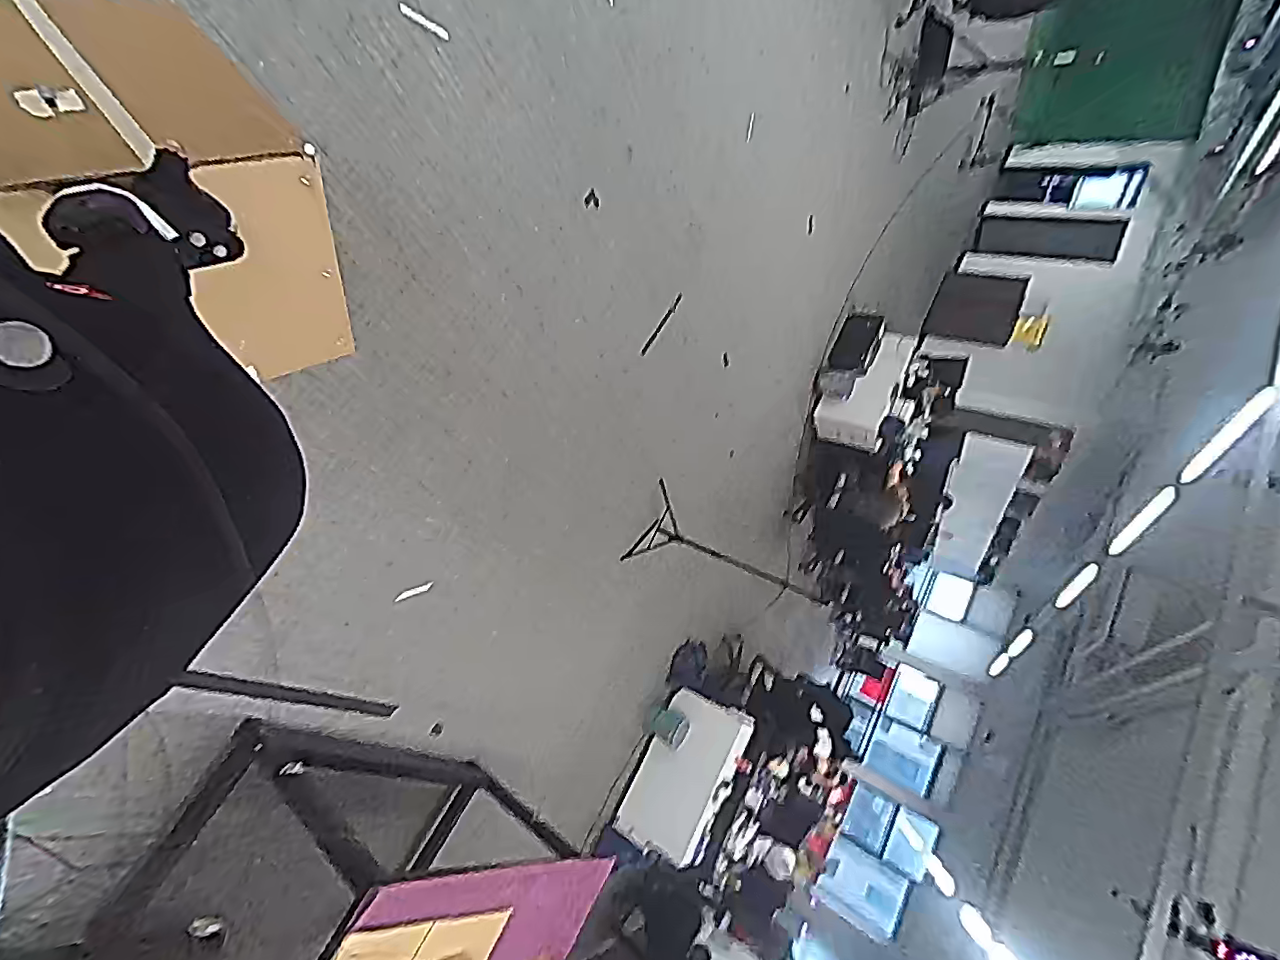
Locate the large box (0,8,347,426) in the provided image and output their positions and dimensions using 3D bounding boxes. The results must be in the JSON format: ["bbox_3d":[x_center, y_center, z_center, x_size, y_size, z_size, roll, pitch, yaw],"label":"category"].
[{"bbox_3d":[-0.665,-0.352,0.727,0.320,0.408,0.320,-33,161,-34],"label":"large box"}]
